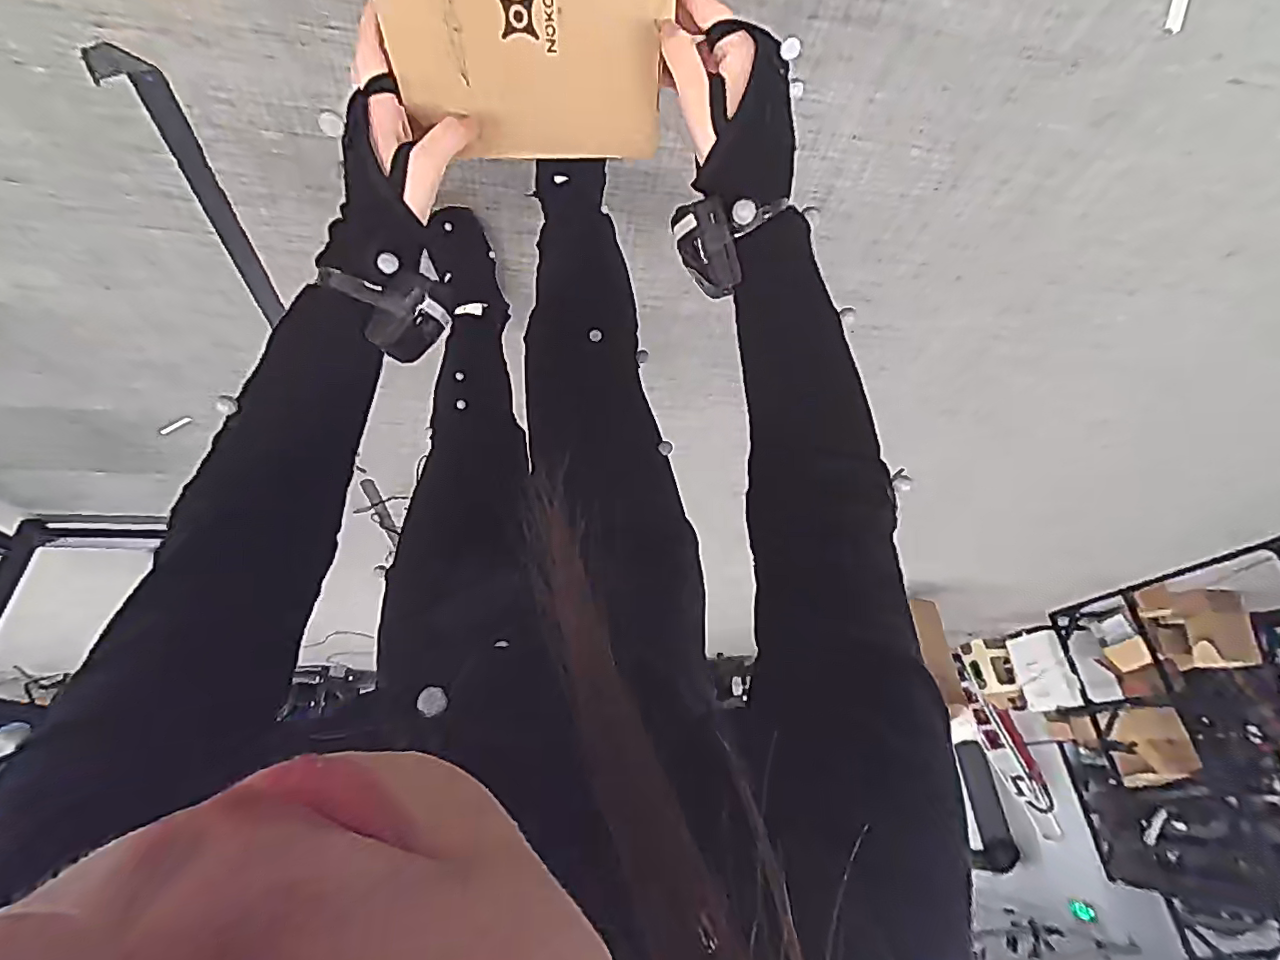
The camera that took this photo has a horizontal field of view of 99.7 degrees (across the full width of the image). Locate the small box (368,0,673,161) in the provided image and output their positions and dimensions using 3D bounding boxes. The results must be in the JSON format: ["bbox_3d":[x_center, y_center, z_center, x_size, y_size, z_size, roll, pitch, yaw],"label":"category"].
[{"bbox_3d":[-0.075,-0.339,0.356,0.179,0.176,0.168,-3,148,-5],"label":"small box"}]
